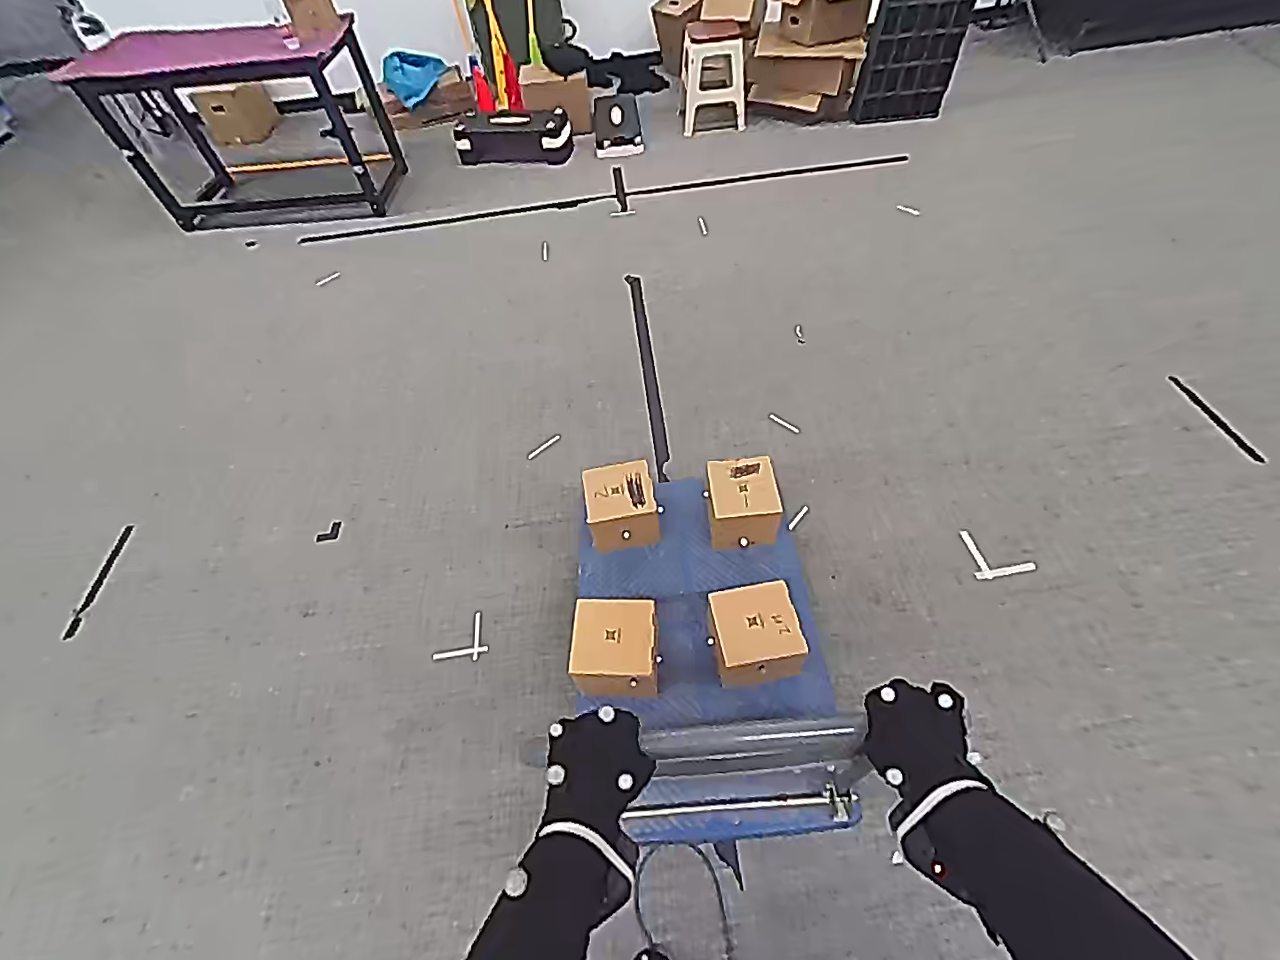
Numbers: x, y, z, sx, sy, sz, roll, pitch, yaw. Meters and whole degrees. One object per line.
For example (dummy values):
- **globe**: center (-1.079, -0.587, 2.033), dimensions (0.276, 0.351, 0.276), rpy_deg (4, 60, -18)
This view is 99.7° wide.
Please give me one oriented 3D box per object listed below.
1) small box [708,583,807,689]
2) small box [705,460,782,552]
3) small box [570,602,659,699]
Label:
- **small box**: center (0.255, 0.356, 1.217), dimensions (0.179, 0.176, 0.168), rpy_deg (-10, 54, -1)
- **small box**: center (0.264, 0.071, 1.425), dimensions (0.168, 0.176, 0.179), rpy_deg (-6, 55, 2)
- **small box**: center (-0.050, 0.389, 1.224), dimensions (0.179, 0.176, 0.168), rpy_deg (0, 53, 4)
